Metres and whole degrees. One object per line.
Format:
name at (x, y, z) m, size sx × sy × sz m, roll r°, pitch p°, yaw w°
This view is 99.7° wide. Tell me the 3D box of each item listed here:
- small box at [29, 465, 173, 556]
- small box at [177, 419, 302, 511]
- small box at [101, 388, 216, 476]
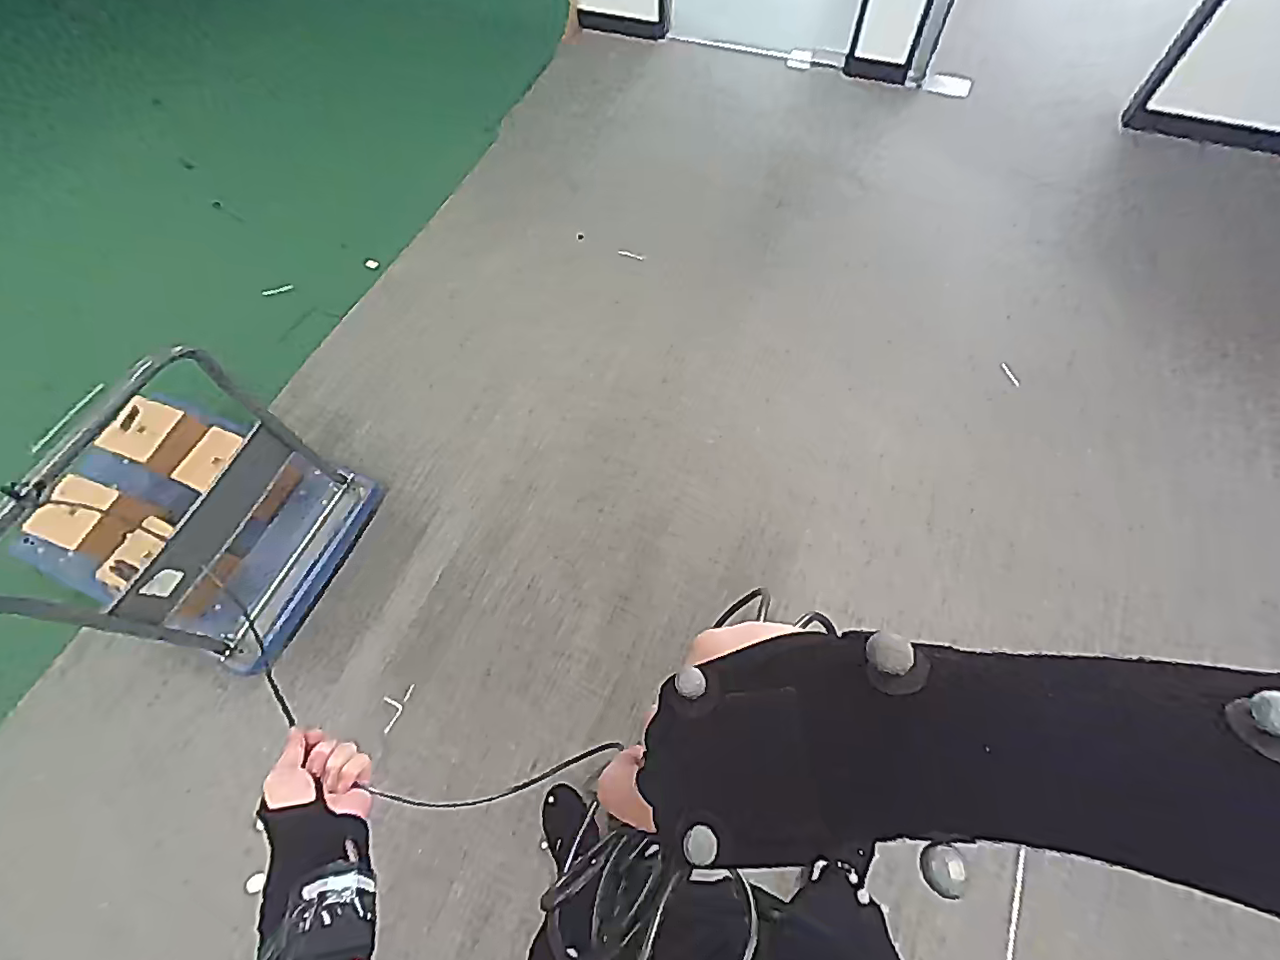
small box at (-1.416, 0.087, 1.437) m, size 0.179 × 0.176 × 0.168 m, roll 17°, pitch 66°, yaw 10°
small box at (-1.085, -0.035, 1.479) m, size 0.179 × 0.176 × 0.168 m, roll 22°, pitch 68°, yaw 11°
small box at (-1.332, -0.130, 1.533) m, size 0.179 × 0.176 × 0.168 m, roll 18°, pitch 68°, yaw 9°
